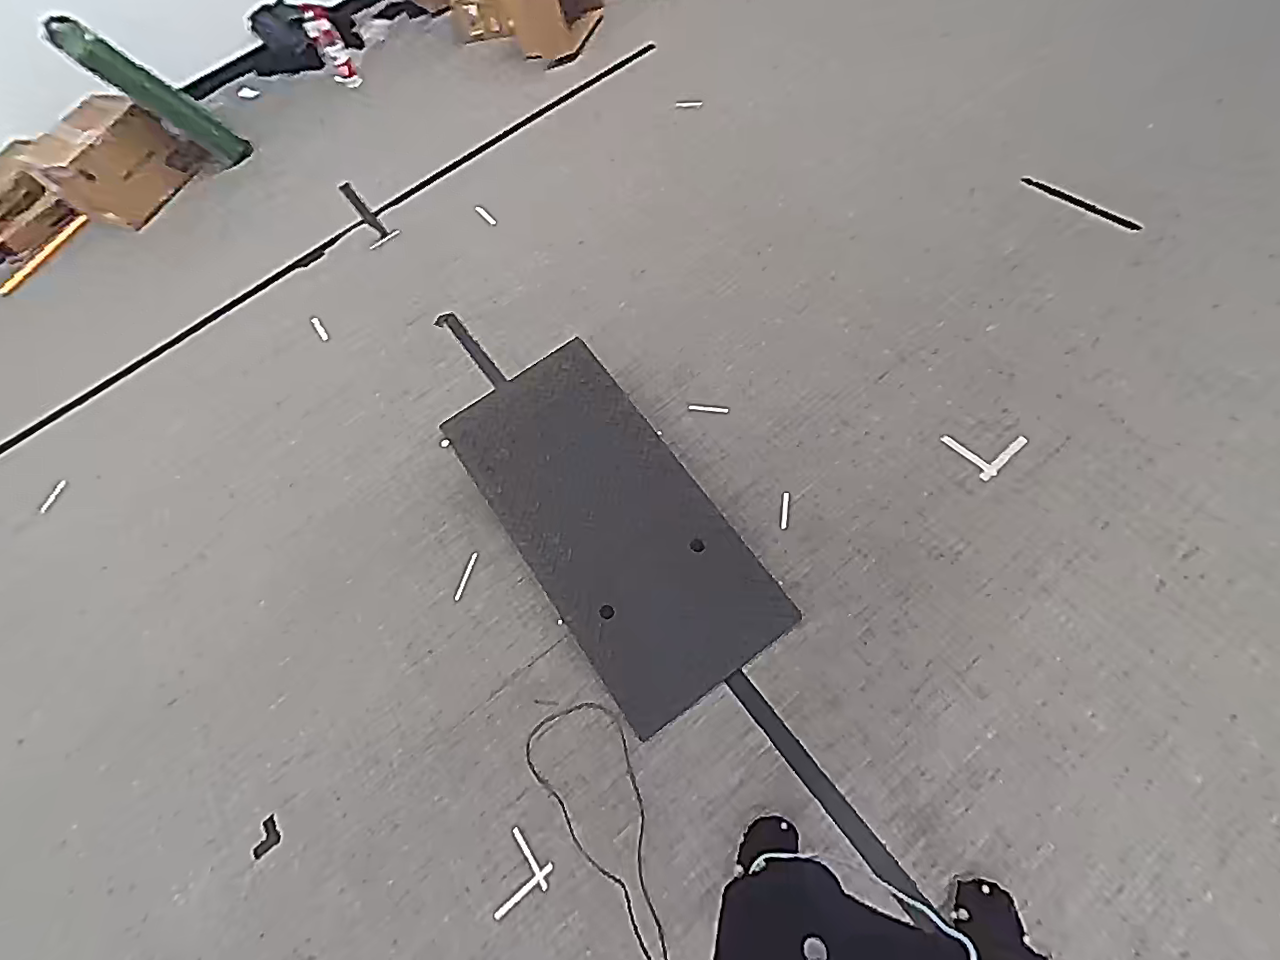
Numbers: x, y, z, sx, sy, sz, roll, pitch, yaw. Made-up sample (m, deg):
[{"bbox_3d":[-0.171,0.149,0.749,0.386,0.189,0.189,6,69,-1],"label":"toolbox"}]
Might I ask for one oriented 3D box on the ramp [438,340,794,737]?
[{"bbox_3d":[-0.093,0.093,1.442,0.509,0.206,0.991,-36,63,-9],"label":"ramp"}]
